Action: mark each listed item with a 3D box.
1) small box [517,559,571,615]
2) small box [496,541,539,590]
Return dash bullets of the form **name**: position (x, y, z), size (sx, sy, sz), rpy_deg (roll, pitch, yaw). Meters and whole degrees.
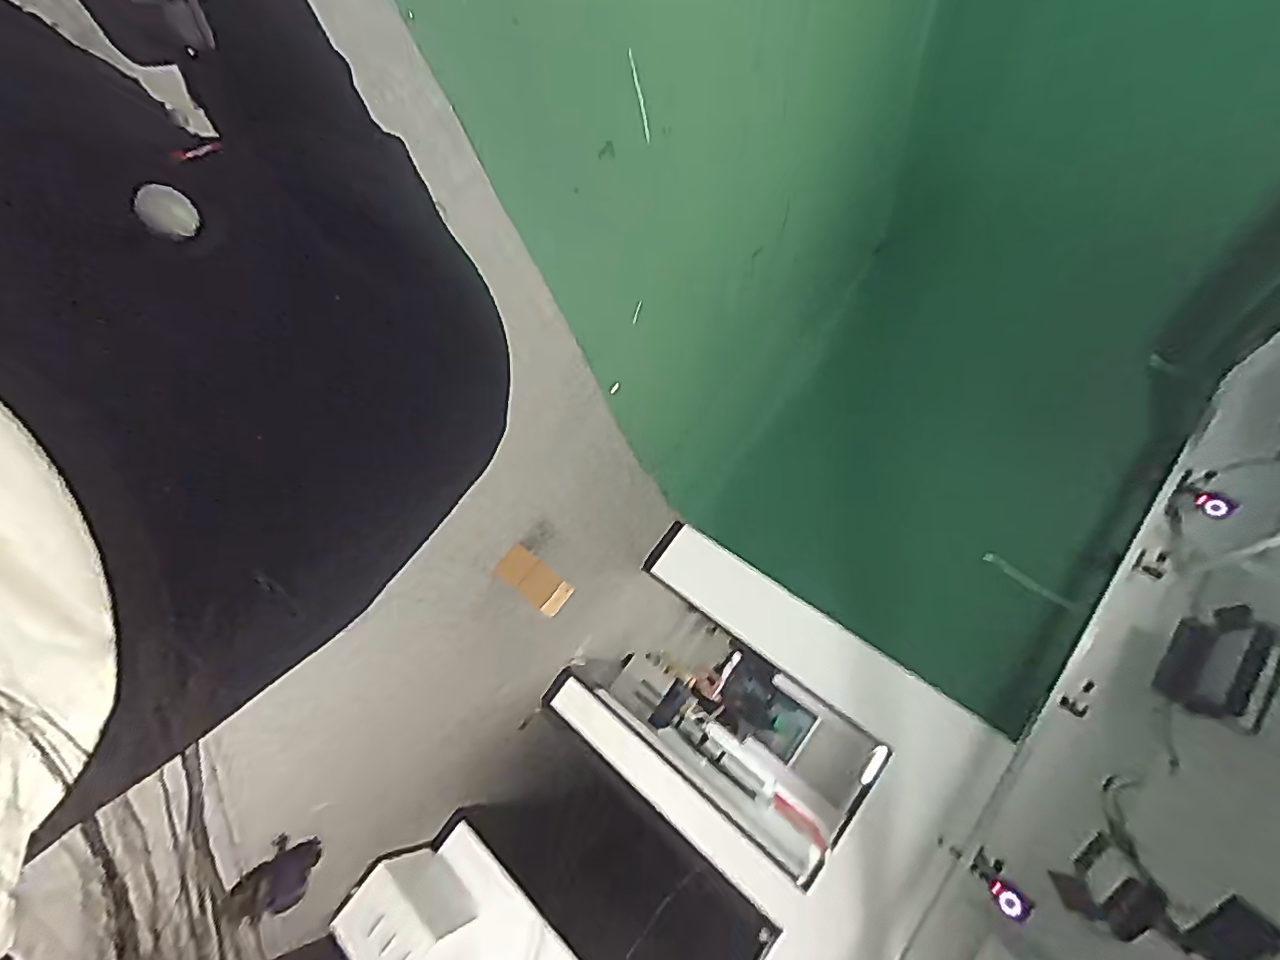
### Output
- **small box**: position (-0.469, 0.516, 2.610), size (0.179, 0.176, 0.168), rpy_deg (-50, 154, -14)
- **small box**: position (-0.590, 0.437, 2.682), size (0.179, 0.176, 0.168), rpy_deg (-49, 156, -16)
